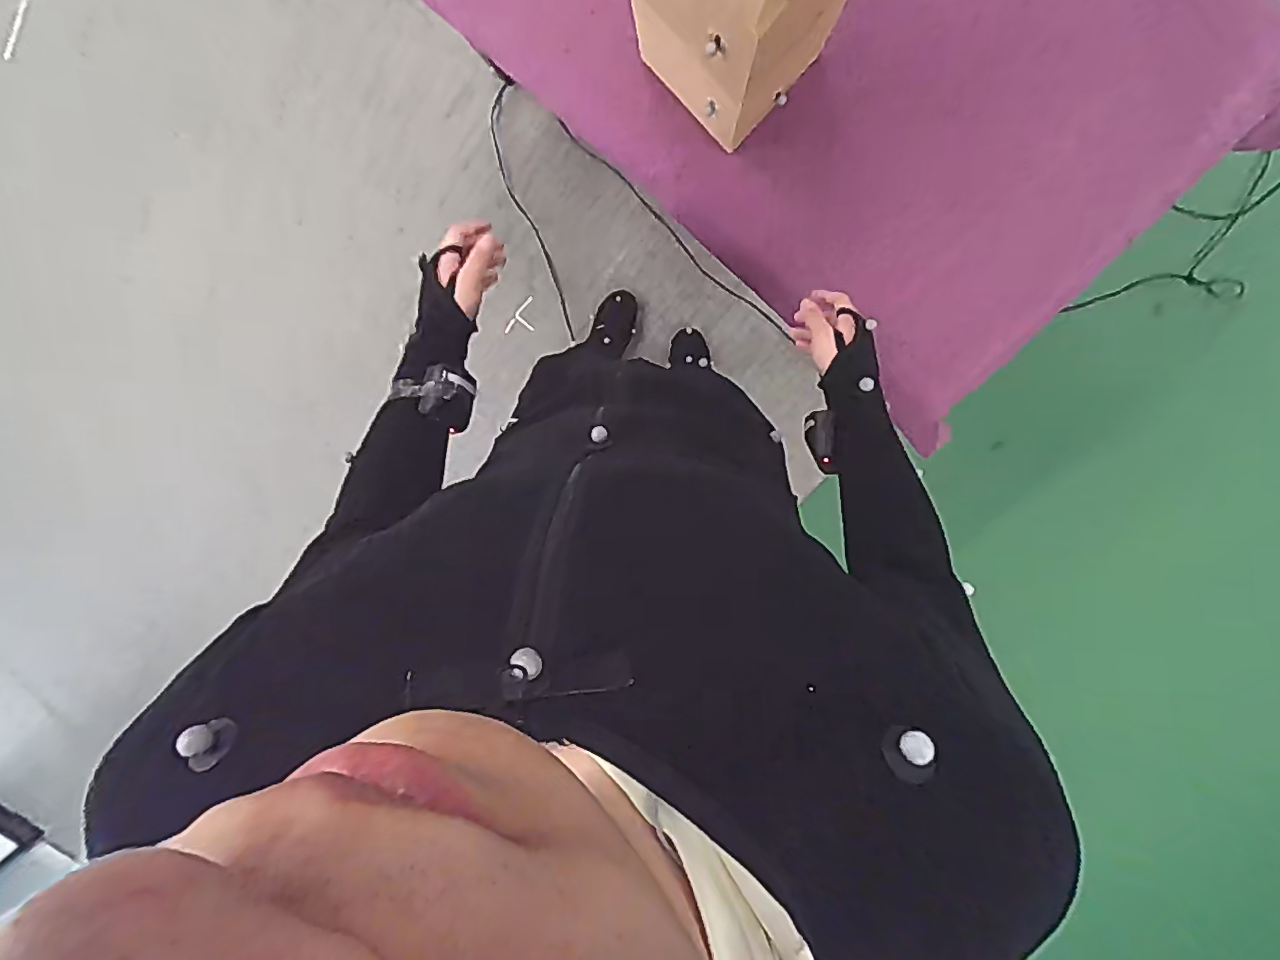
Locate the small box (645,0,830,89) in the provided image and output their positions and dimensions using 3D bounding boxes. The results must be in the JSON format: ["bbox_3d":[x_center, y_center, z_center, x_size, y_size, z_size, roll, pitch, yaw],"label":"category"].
[{"bbox_3d":[0.098,-0.502,0.488,0.179,0.176,0.168,43,105,-8],"label":"small box"}]
